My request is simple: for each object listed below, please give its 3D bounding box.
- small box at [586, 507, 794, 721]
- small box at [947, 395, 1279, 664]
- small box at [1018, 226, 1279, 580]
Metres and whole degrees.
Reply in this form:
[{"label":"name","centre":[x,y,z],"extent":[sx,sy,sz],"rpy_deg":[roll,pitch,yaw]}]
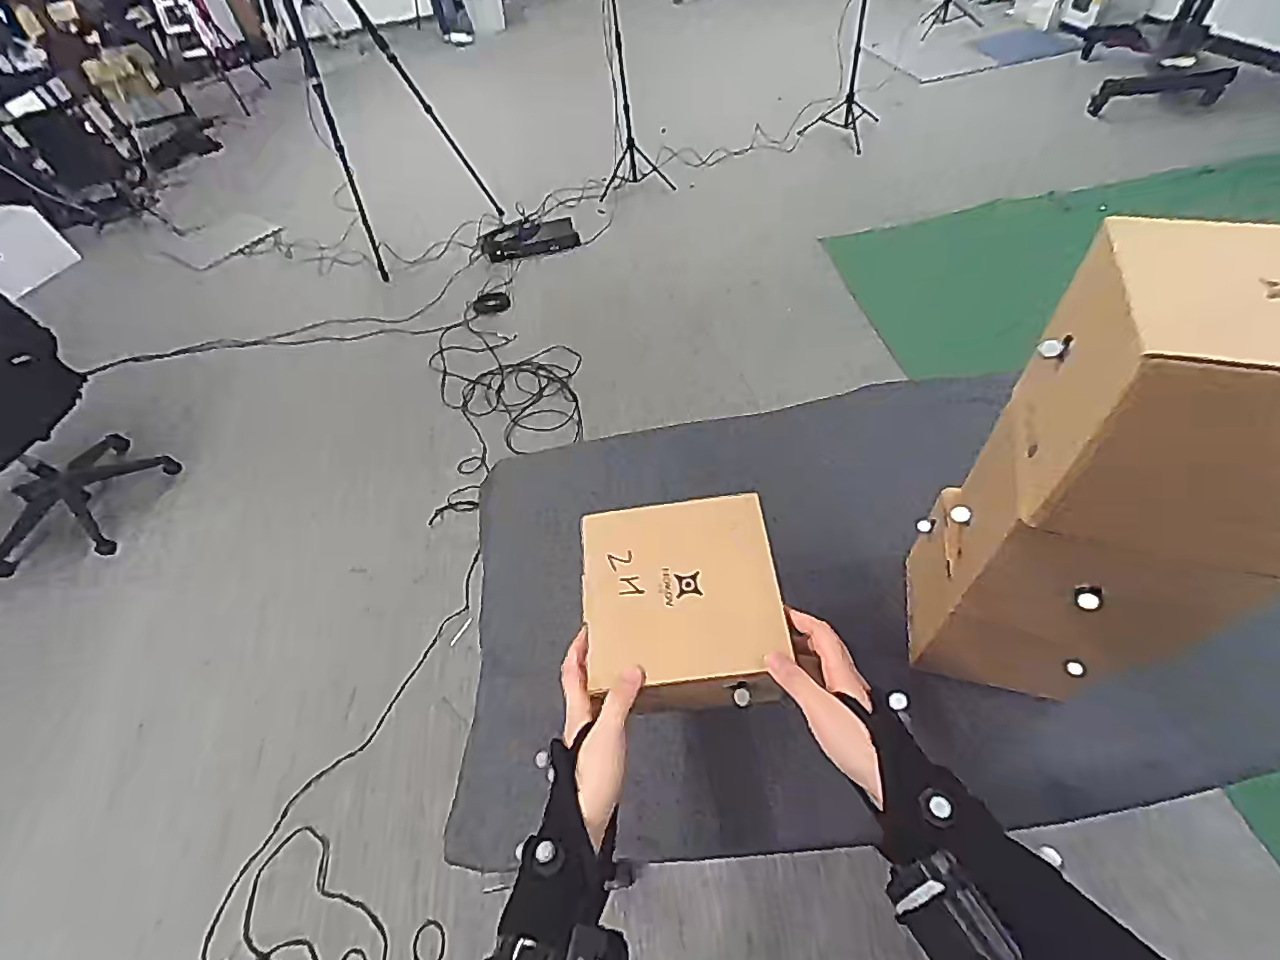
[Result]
[{"label":"small box","centre":[0.046,0.146,0.559],"extent":[0.179,0.176,0.168],"rpy_deg":[-8,58,4]},{"label":"small box","centre":[0.413,0.049,0.501],"extent":[0.179,0.176,0.168],"rpy_deg":[14,54,20]},{"label":"small box","centre":[0.390,-0.053,0.377],"extent":[0.179,0.176,0.168],"rpy_deg":[13,54,18]}]
